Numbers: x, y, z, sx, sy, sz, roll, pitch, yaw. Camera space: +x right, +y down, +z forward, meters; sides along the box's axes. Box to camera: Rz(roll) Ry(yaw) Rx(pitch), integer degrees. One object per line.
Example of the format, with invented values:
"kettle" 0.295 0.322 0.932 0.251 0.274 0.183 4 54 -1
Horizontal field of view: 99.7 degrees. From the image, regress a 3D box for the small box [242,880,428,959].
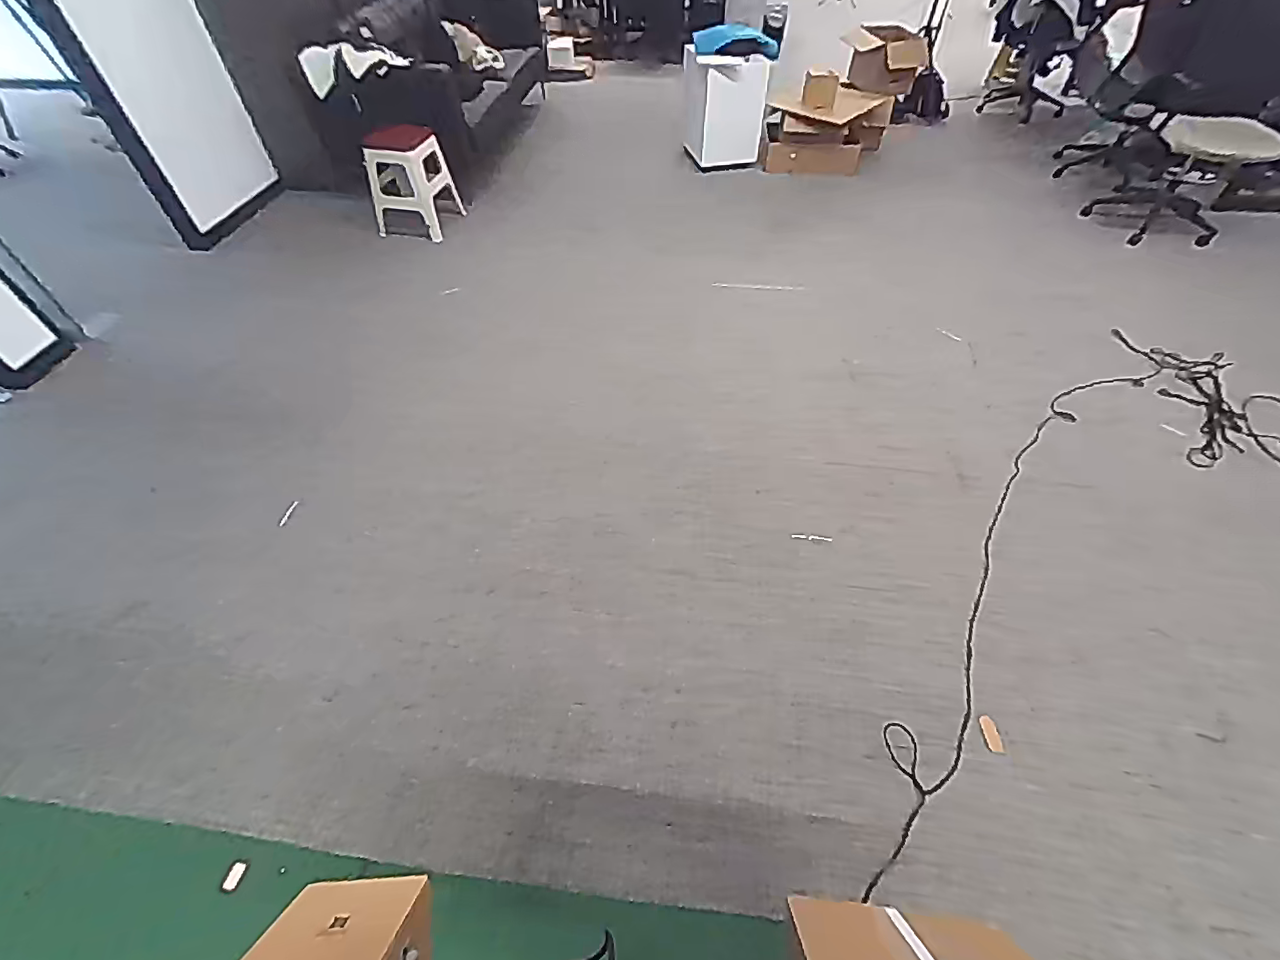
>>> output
"small box" -0.371 0.632 0.656 0.168 0.179 0.176 -2 85 -3
